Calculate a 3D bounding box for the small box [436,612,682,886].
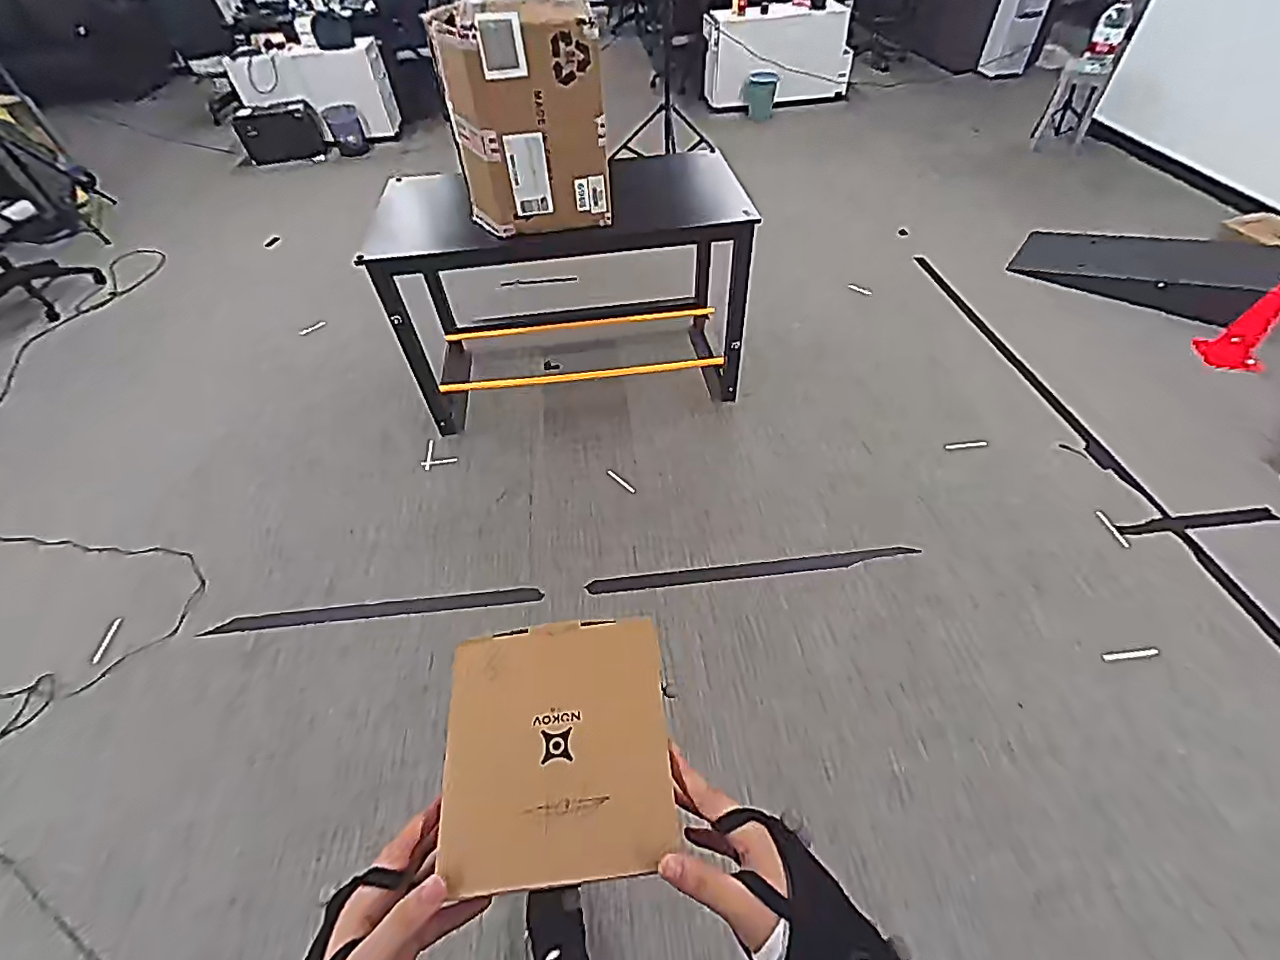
[{"bbox_3d":[-0.058,0.235,0.469,0.168,0.176,0.179,-7,55,-1],"label":"small box"}]
